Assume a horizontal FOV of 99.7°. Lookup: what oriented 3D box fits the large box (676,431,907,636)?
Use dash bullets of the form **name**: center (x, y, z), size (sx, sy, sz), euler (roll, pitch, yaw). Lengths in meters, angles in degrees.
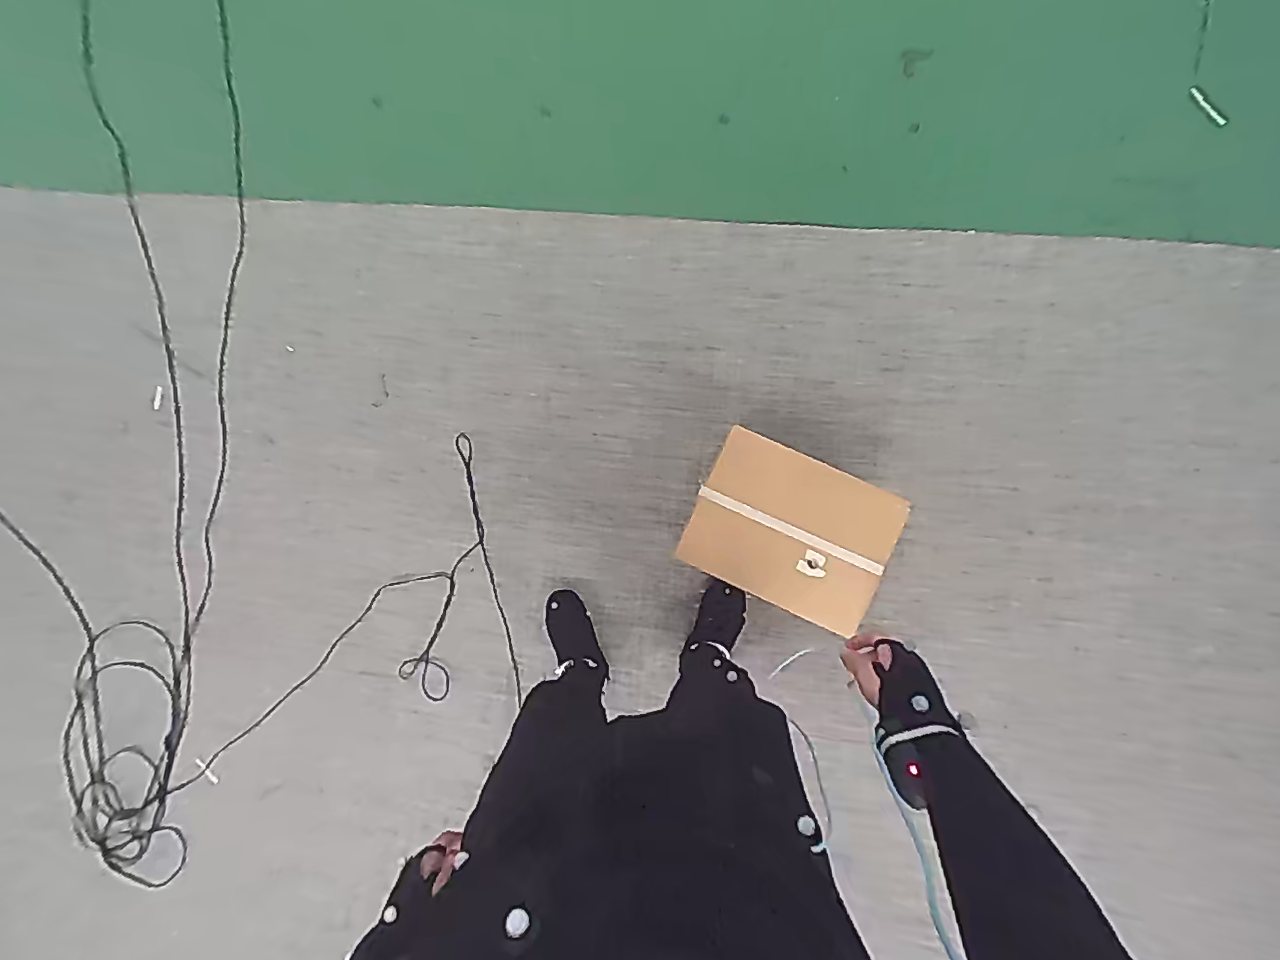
- **large box**: center (0.324, 0.116, 1.281), size (0.408, 0.320, 0.320), euler (24, 90, 6)
